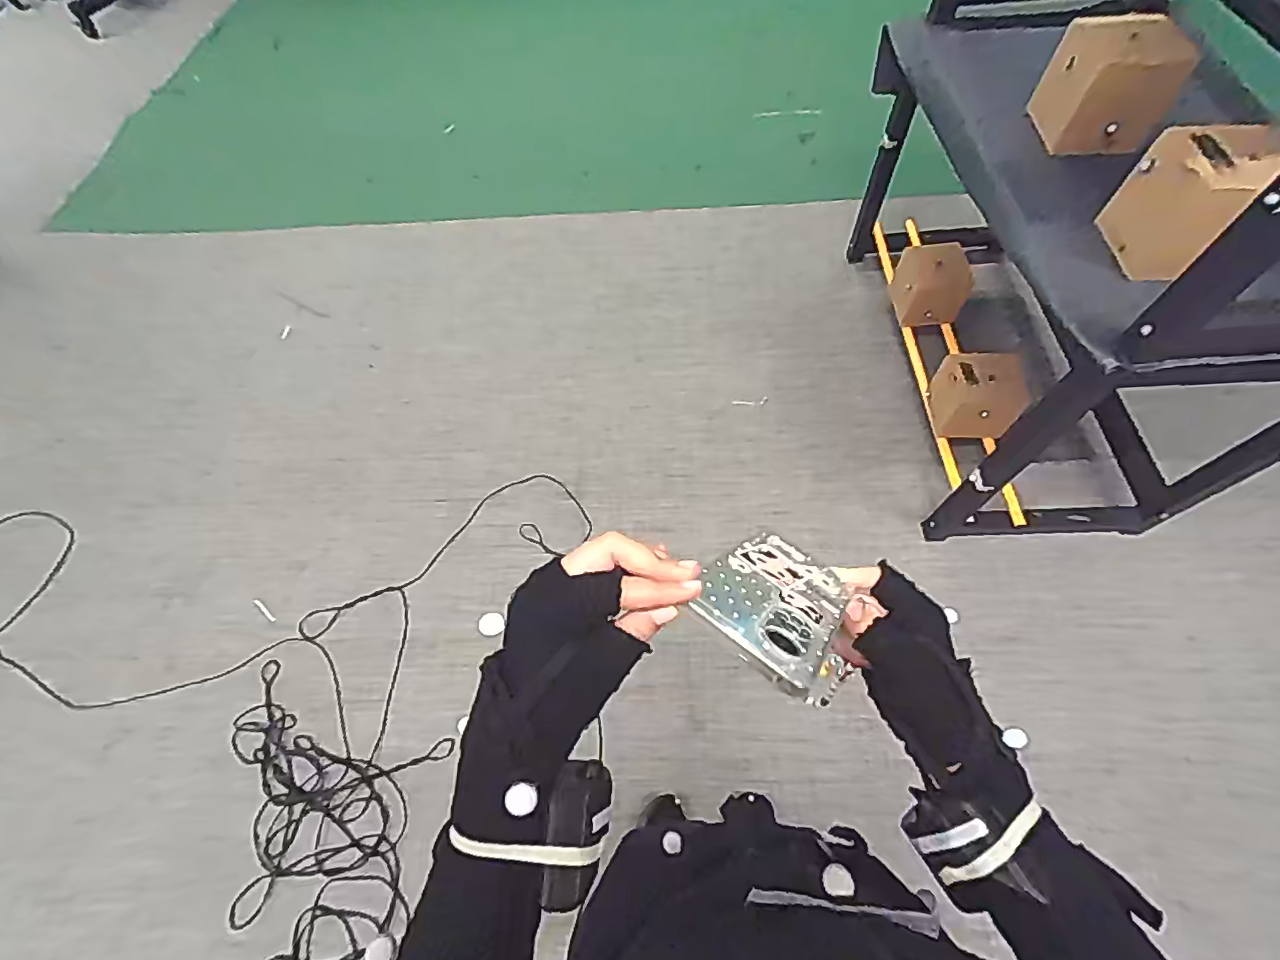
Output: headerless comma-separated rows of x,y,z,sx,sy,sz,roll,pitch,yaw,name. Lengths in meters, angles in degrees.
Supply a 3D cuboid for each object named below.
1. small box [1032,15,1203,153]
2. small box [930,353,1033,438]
0.925,-0.781,1.072,0.168,0.176,0.179,1,61,5,small box
0.920,-0.228,1.480,0.179,0.176,0.168,1,61,5,small box
